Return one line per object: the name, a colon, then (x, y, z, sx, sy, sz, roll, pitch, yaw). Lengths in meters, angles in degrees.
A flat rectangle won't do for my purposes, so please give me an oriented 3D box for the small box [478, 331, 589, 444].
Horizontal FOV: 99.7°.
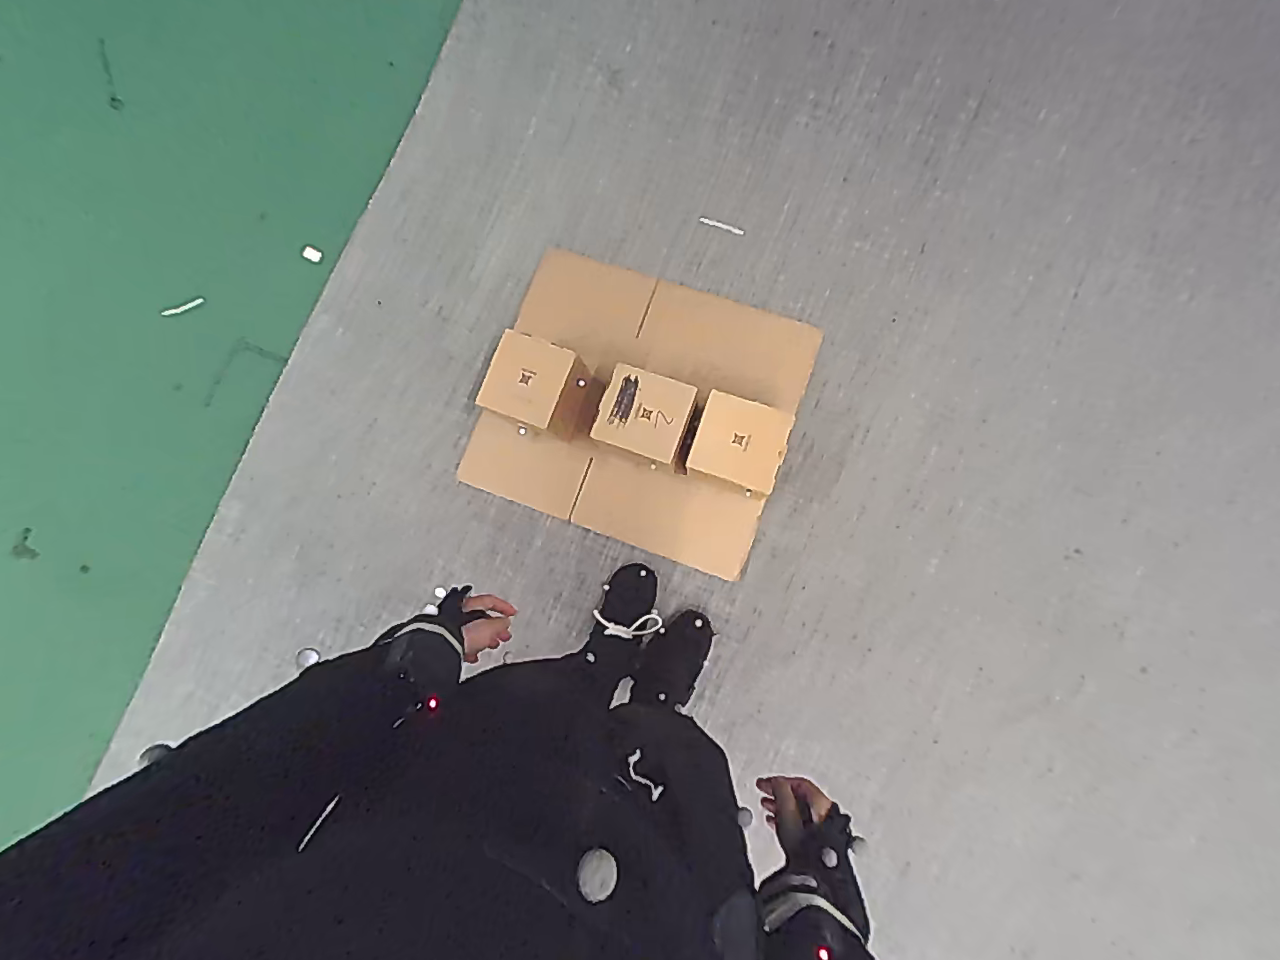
small box: (-0.223, -0.194, 1.188, 0.168, 0.176, 0.179, 20, 87, 8)
